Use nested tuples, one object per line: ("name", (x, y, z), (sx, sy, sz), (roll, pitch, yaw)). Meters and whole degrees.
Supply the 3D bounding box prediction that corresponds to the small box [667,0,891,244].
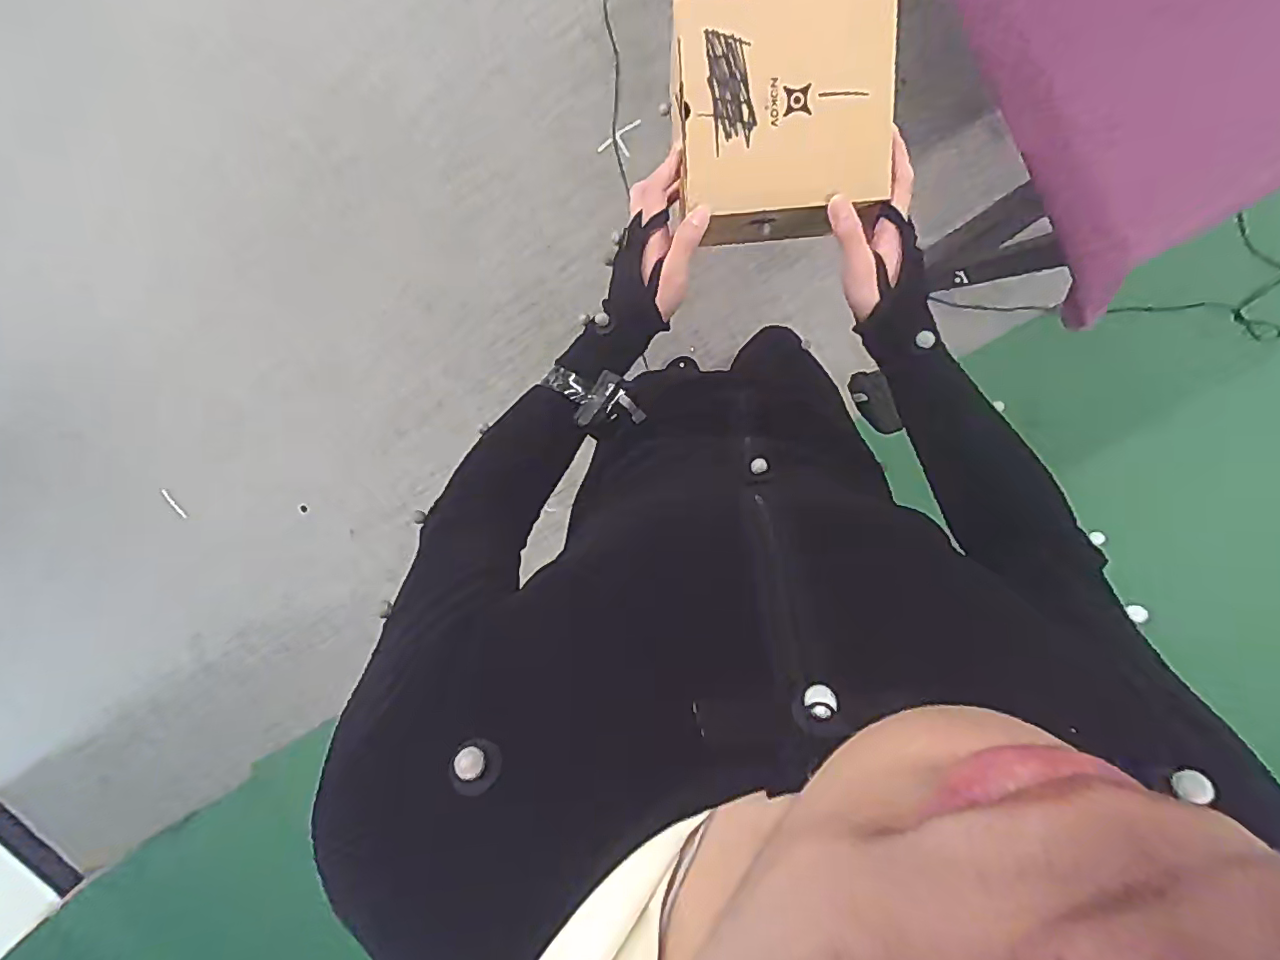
("small box", (0.118, -0.333, 0.518), (0.179, 0.176, 0.168), (-4, 104, 3))
